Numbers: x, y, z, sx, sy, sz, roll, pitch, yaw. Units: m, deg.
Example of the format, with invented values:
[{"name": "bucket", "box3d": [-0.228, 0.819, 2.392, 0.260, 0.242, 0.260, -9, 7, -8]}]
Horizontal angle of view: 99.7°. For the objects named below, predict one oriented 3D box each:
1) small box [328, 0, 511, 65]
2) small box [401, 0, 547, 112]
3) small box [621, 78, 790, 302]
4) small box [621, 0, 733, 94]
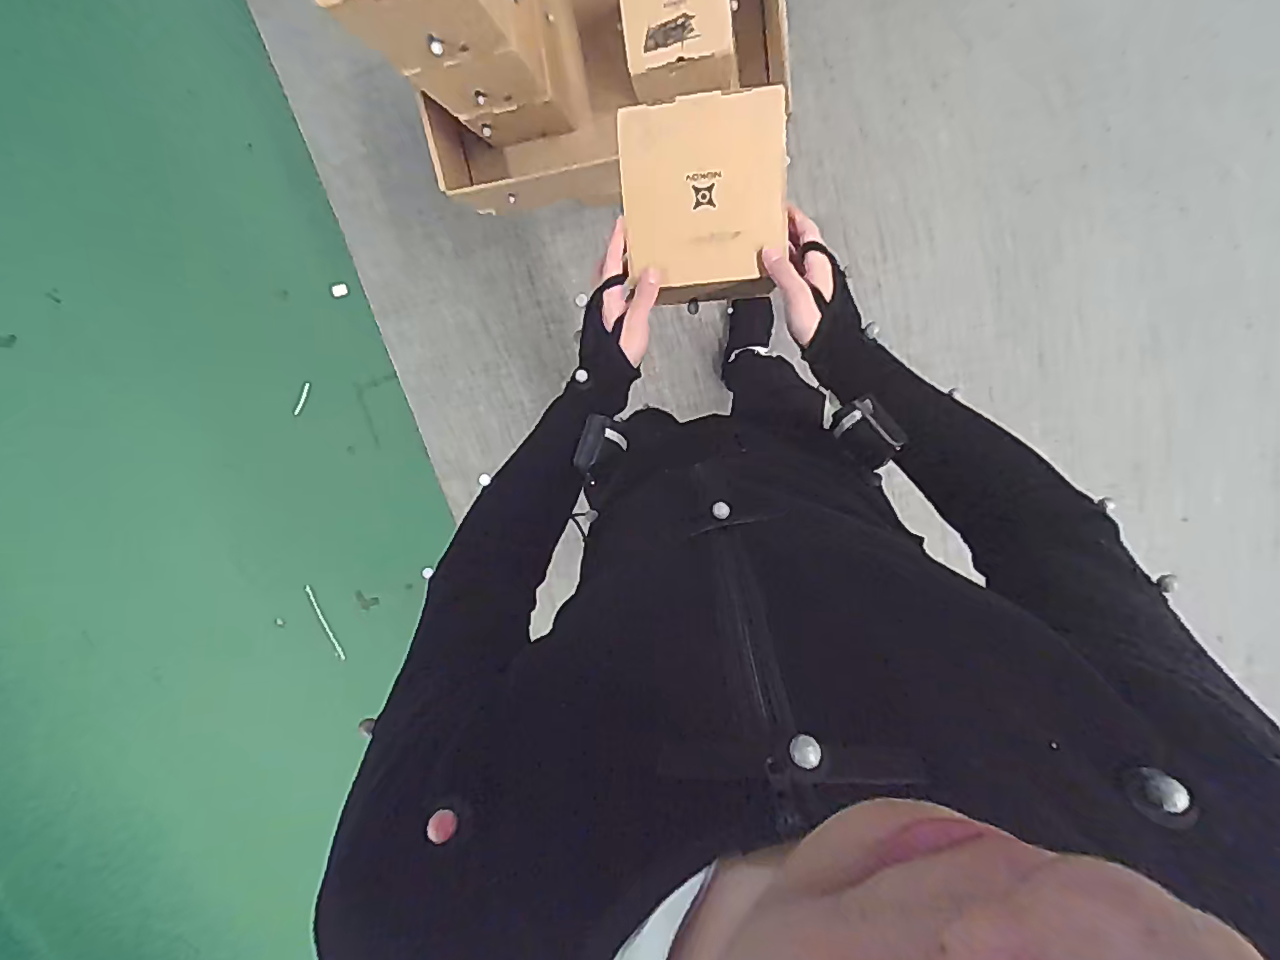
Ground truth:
[{"name": "small box", "box3d": [-0.265, -0.625, 0.620, 0.168, 0.176, 0.179, -4, 107, 9]}, {"name": "small box", "box3d": [-0.244, -0.670, 0.778, 0.168, 0.176, 0.179, -5, 107, 8]}, {"name": "small box", "box3d": [0.073, -0.309, 0.615, 0.168, 0.176, 0.179, -3, 101, 7]}, {"name": "small box", "box3d": [0.064, -0.750, 0.883, 0.168, 0.176, 0.179, -5, 106, 9]}]
